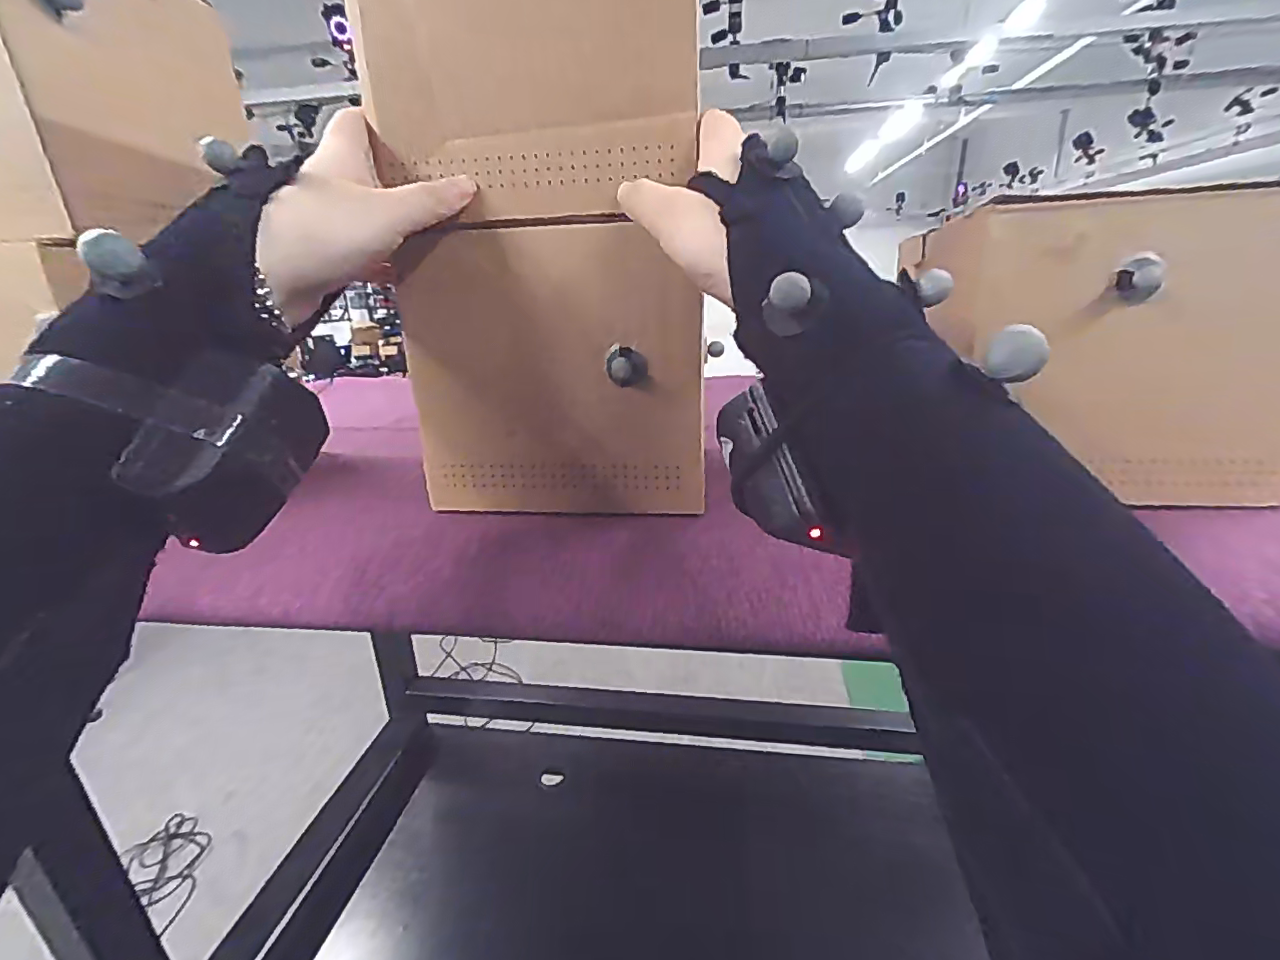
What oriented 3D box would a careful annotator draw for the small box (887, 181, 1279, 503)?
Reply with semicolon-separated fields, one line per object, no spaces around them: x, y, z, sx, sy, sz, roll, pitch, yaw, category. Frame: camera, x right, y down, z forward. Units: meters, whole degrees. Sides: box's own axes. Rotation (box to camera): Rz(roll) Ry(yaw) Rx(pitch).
0.281;-0.087;0.371;0.179;0.176;0.168;1;17;9;small box

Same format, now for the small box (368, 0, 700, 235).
-0.052;-0.237;0.346;0.179;0.176;0.168;0;17;4;small box

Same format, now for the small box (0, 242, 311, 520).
-0.384;-0.078;0.403;0.168;0.176;0.179;1;20;5;small box

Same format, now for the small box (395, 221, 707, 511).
-0.041;-0.080;0.392;0.179;0.176;0.168;-1;17;6;small box
